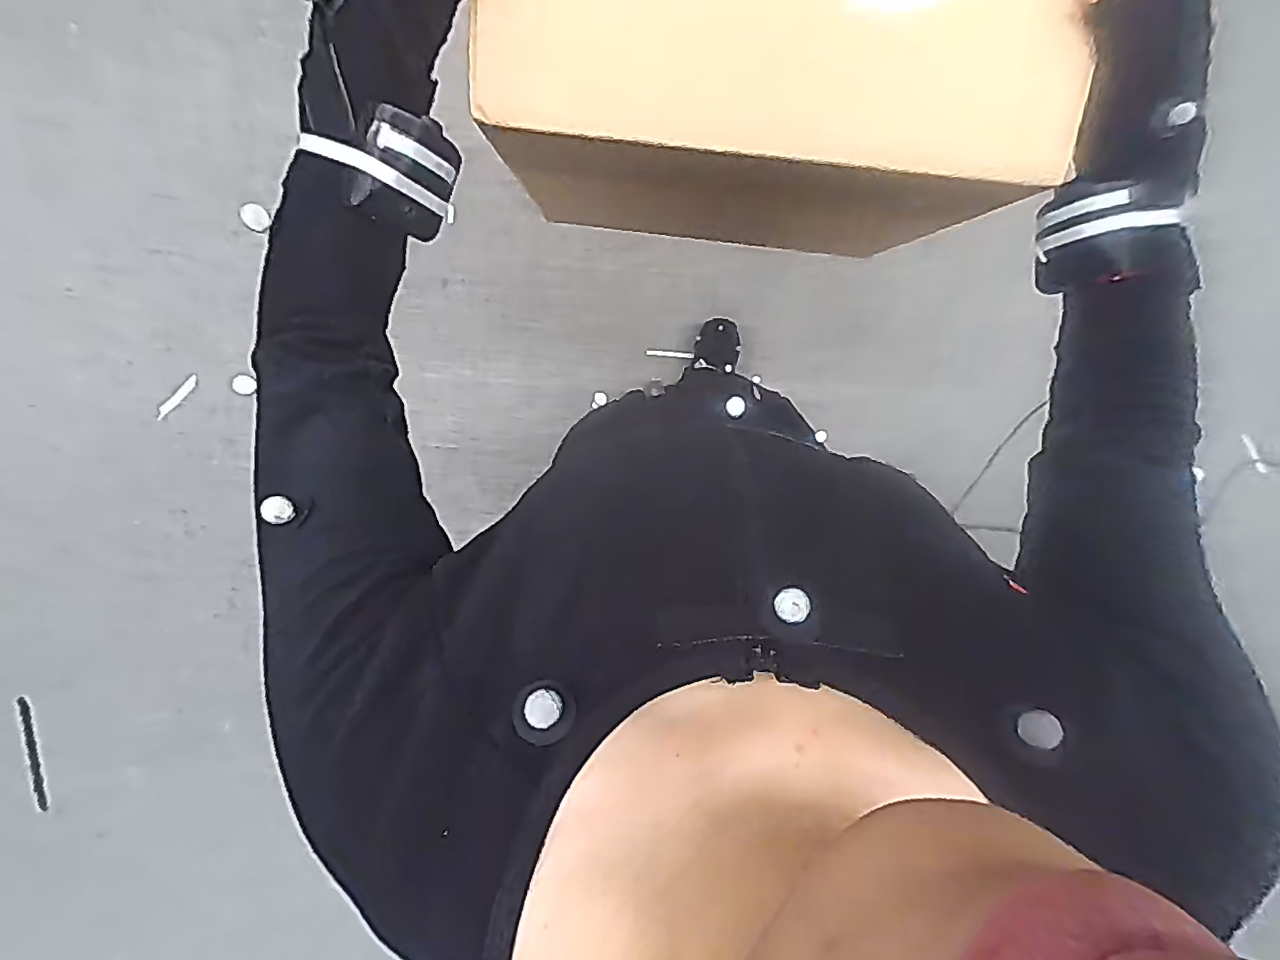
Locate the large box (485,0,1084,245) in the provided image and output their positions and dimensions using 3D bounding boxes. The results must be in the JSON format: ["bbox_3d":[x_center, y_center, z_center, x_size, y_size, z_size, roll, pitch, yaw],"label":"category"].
[{"bbox_3d":[0.098,-0.417,0.486,0.408,0.320,0.320,5,104,-3],"label":"large box"}]
